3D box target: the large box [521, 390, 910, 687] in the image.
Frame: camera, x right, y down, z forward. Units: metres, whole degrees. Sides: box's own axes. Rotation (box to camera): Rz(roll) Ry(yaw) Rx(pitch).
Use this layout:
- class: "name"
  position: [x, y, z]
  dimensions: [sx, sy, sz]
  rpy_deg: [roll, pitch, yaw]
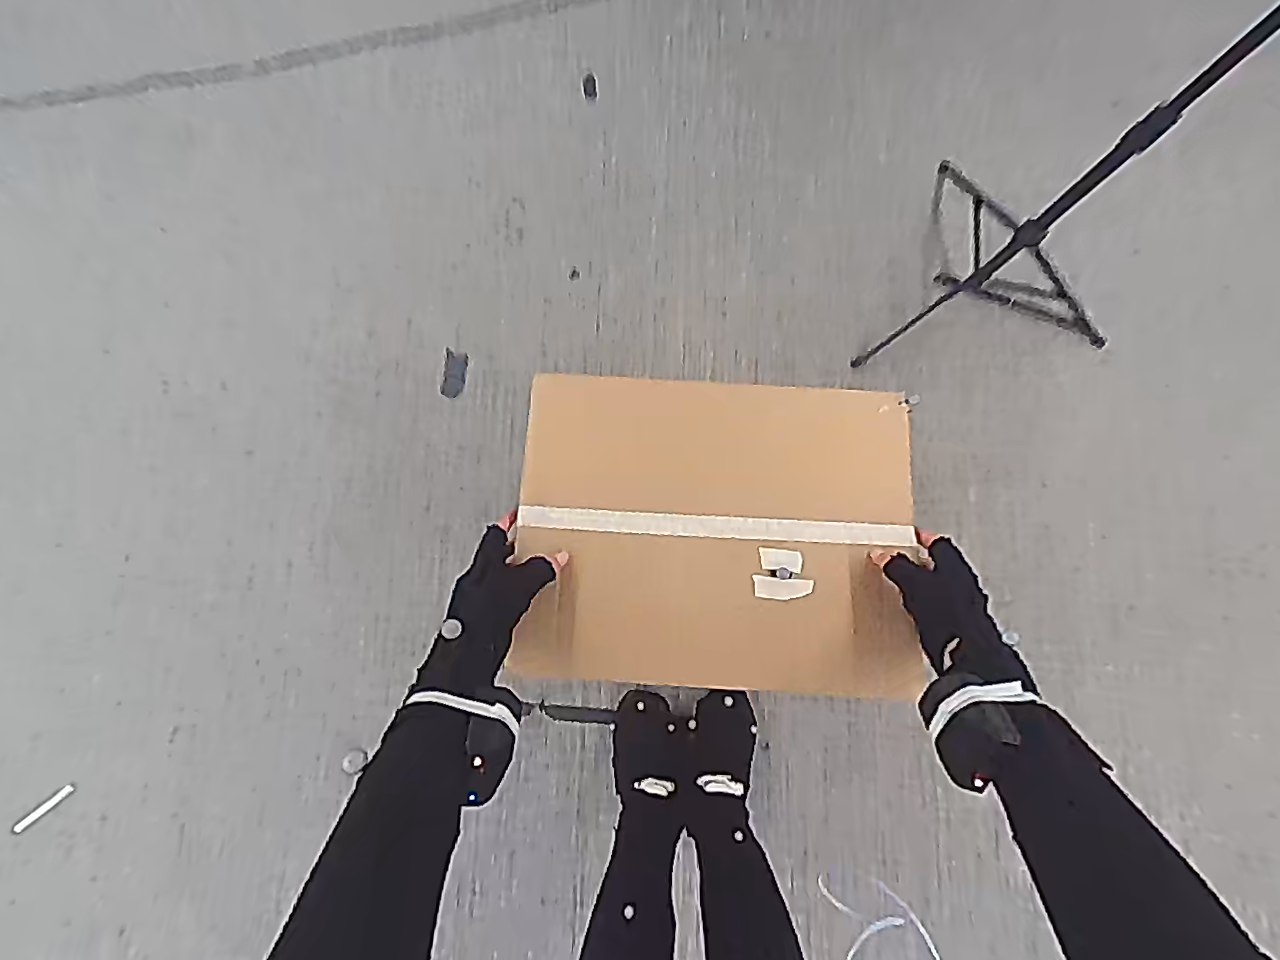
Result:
- class: "large box"
  position: [0.079, 0.088, 0.723]
  dimensions: [0.408, 0.320, 0.320]
  rpy_deg: [3, 78, 1]
